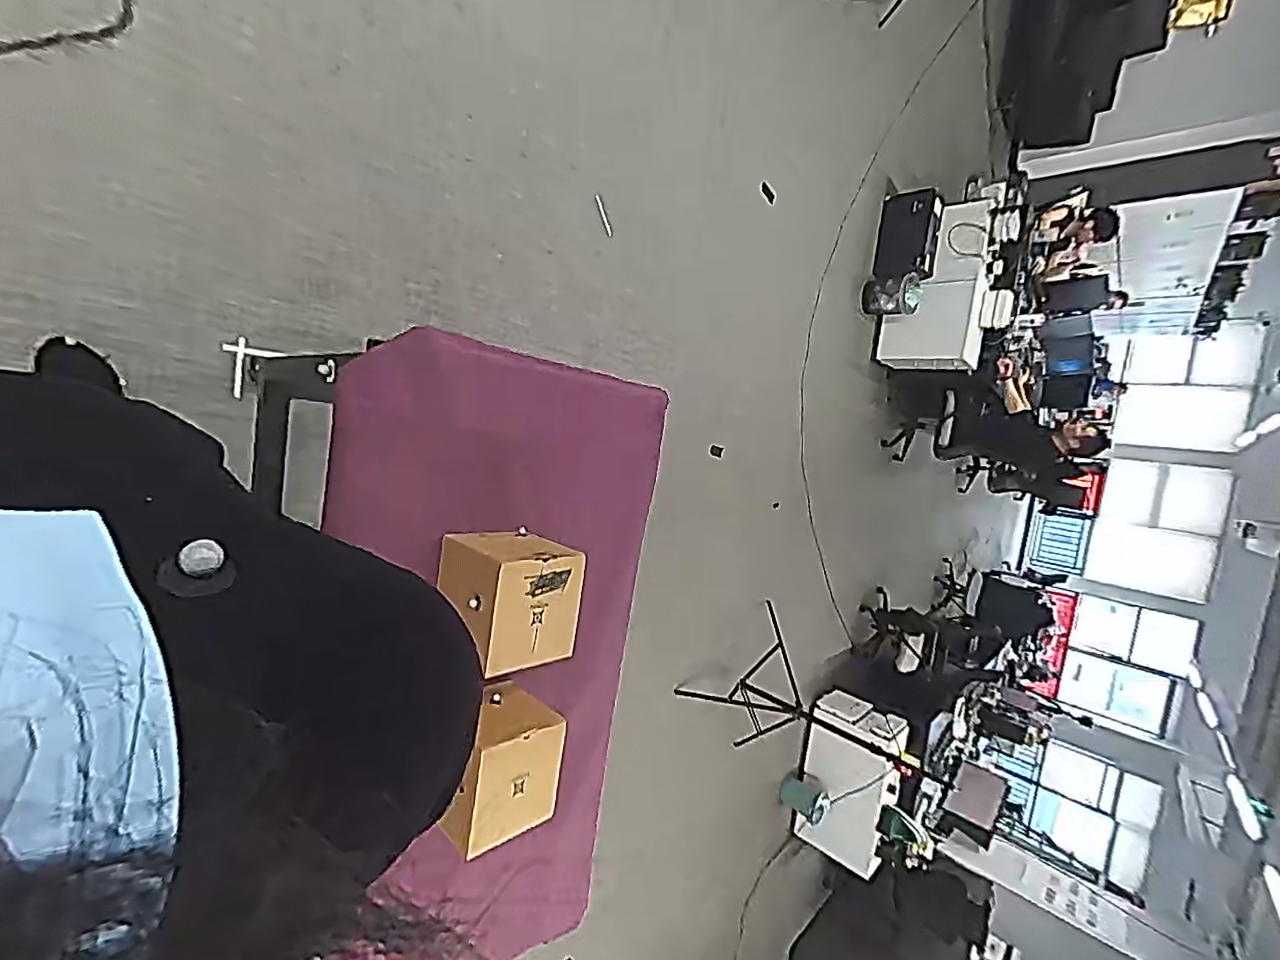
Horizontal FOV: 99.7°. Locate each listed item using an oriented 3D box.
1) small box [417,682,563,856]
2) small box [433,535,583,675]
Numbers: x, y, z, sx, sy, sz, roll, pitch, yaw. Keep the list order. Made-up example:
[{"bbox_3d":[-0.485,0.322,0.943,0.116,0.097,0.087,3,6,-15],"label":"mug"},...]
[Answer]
[{"bbox_3d":[-0.256,0.469,0.910,0.168,0.176,0.179,5,95,-48],"label":"small box"},{"bbox_3d":[-0.218,0.188,0.883,0.168,0.176,0.179,4,97,-48],"label":"small box"}]
